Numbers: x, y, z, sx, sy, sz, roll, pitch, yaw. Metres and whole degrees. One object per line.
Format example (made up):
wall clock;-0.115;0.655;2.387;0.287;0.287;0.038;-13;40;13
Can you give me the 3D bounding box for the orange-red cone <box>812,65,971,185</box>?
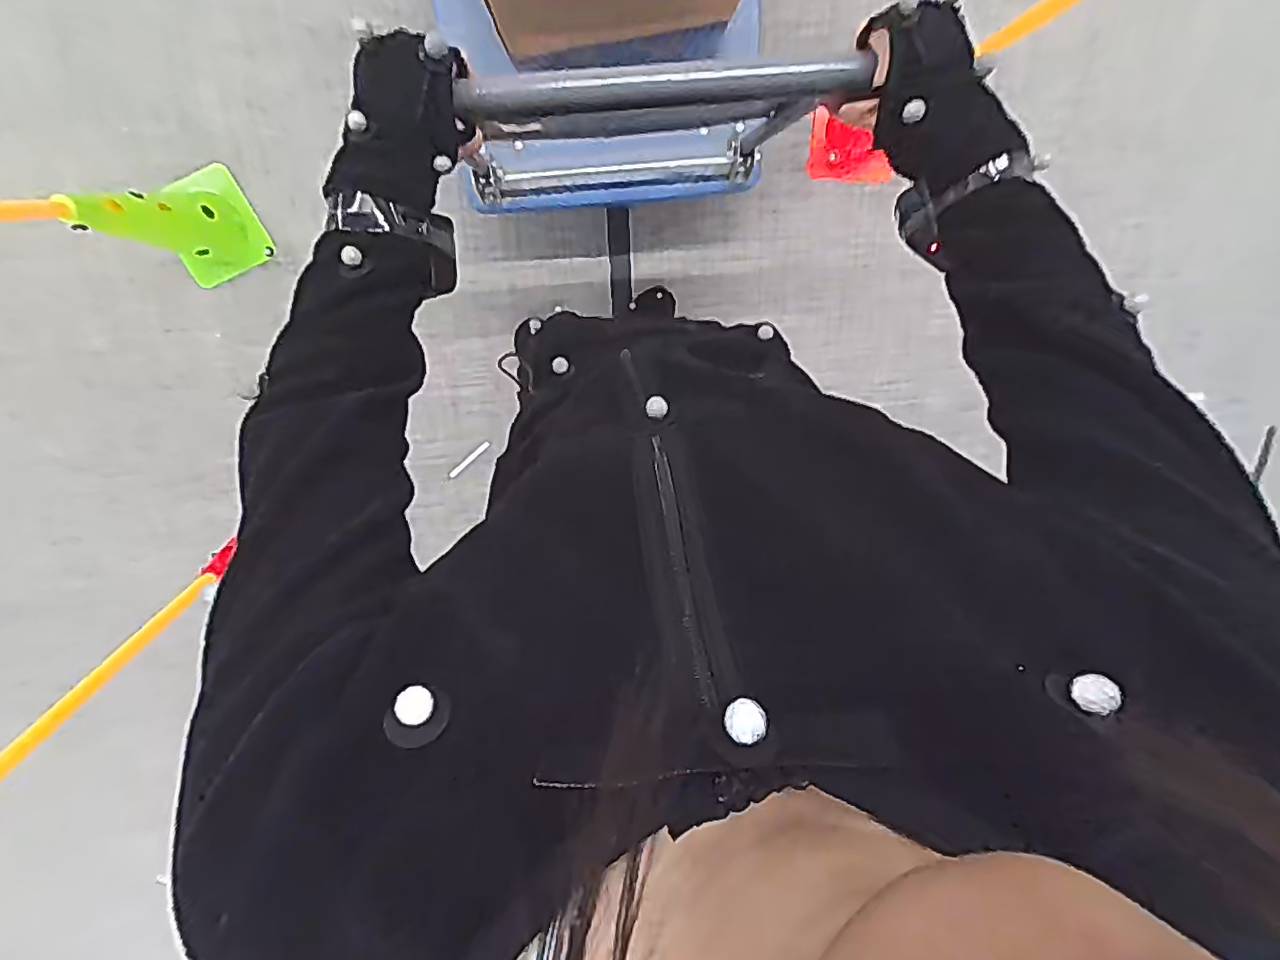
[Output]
orange-red cone;0.503;-0.709;1.034;0.199;0.360;0.198;2;110;-6
